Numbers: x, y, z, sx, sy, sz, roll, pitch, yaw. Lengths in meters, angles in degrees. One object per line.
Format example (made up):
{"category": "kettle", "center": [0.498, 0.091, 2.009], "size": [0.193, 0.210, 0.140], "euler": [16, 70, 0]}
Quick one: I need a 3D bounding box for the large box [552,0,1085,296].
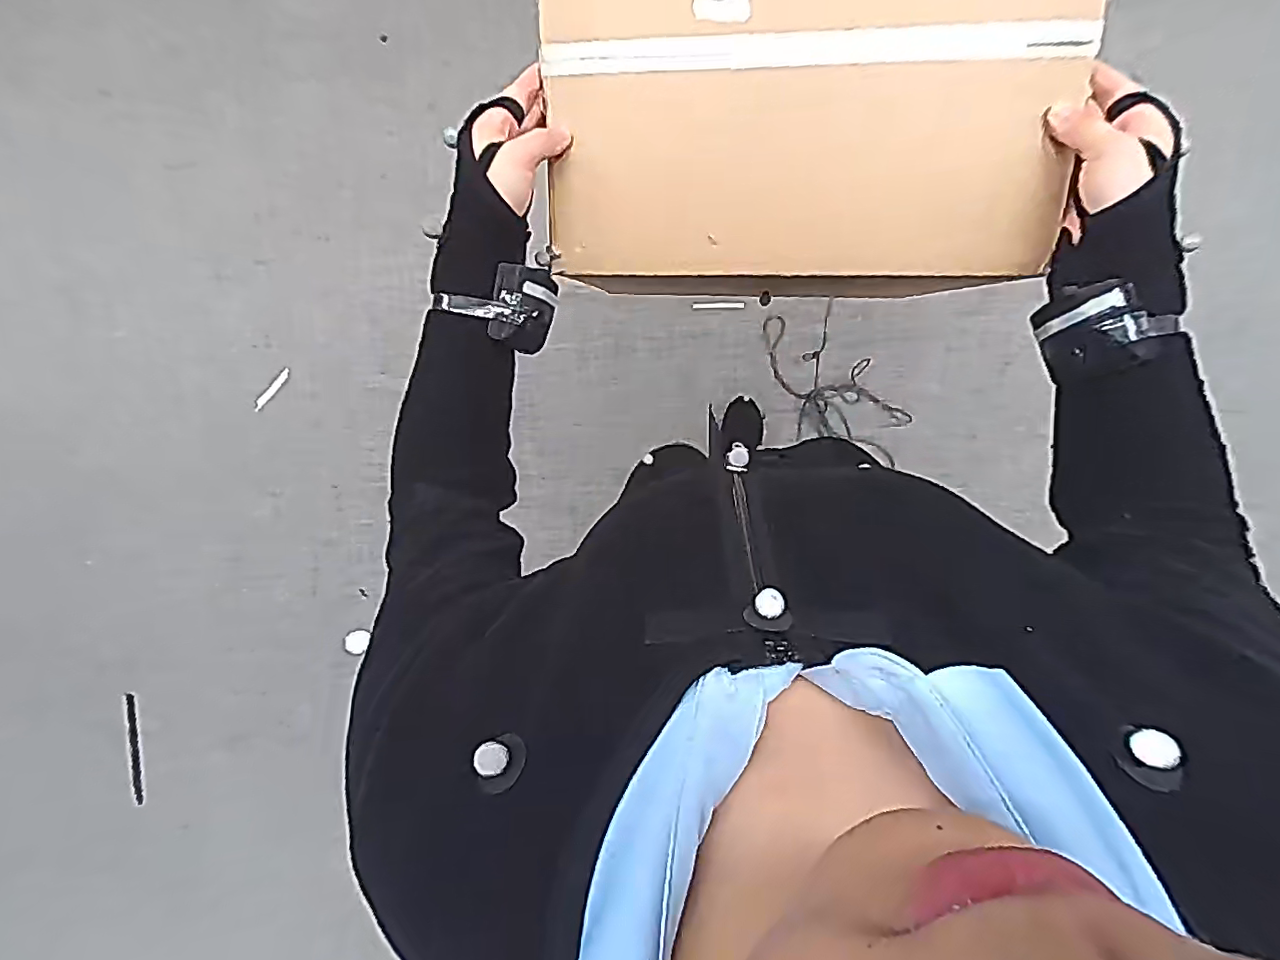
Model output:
{"category": "large box", "center": [0.145, -0.365, 0.565], "size": [0.408, 0.320, 0.320], "euler": [1, 105, 6]}
